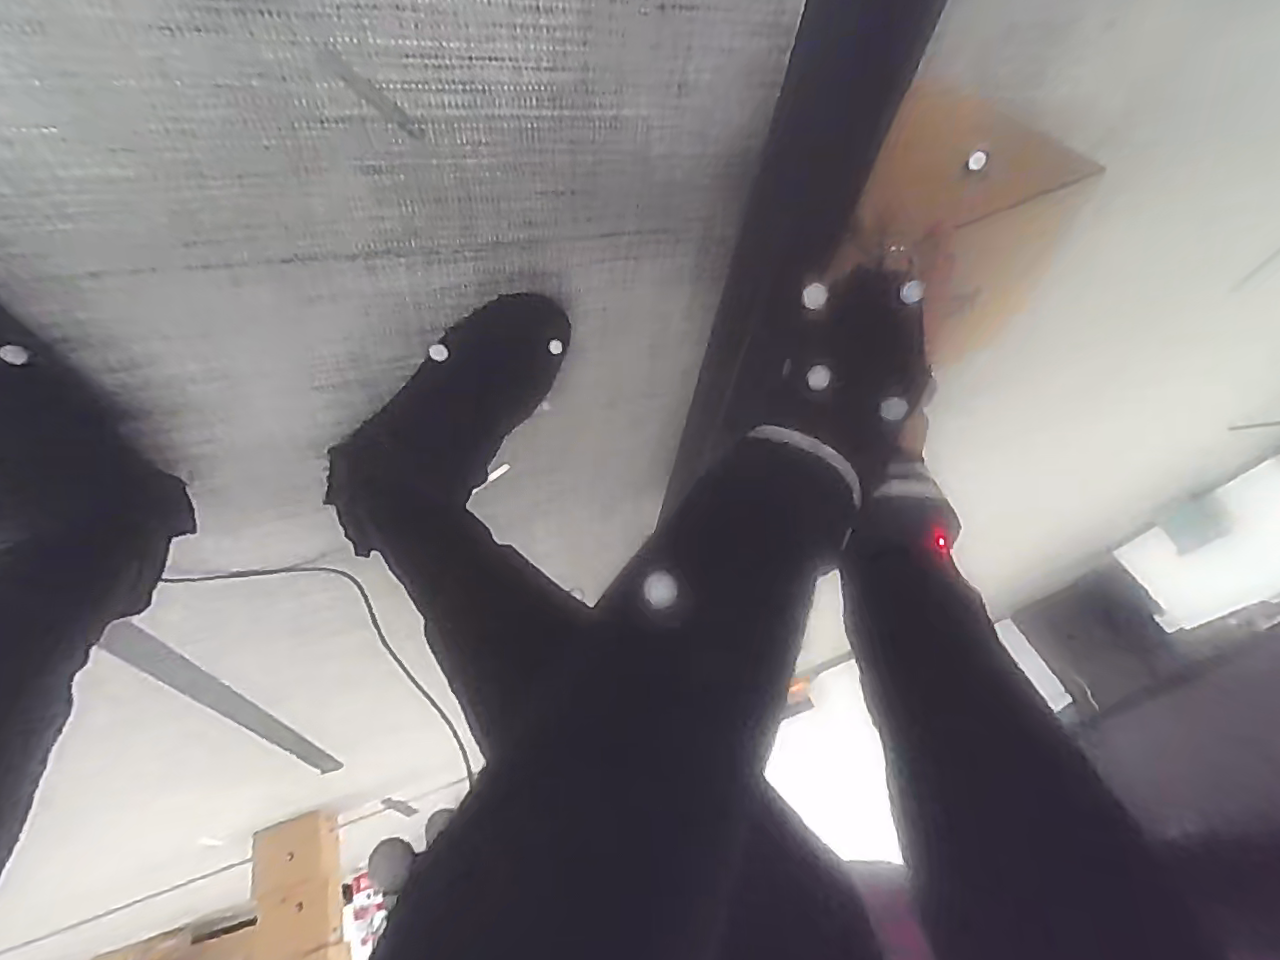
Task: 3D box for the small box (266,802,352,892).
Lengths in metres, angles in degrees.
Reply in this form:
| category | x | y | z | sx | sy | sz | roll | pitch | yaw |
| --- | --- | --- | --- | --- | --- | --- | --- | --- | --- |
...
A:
| category | x | y | z | sx | sy | sz | roll | pitch | yaw |
| --- | --- | --- | --- | --- | --- | --- | --- | --- | --- |
| small box | -0.971 | 1.080 | 1.593 | 0.179 | 0.176 | 0.168 | -14 | 147 | -17 |

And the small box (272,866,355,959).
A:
| category | x | y | z | sx | sy | sz | roll | pitch | yaw |
| --- | --- | --- | --- | --- | --- | --- | --- | --- | --- |
| small box | -0.912 | 1.213 | 1.520 | 0.168 | 0.176 | 0.179 | -11 | 146 | -21 |
